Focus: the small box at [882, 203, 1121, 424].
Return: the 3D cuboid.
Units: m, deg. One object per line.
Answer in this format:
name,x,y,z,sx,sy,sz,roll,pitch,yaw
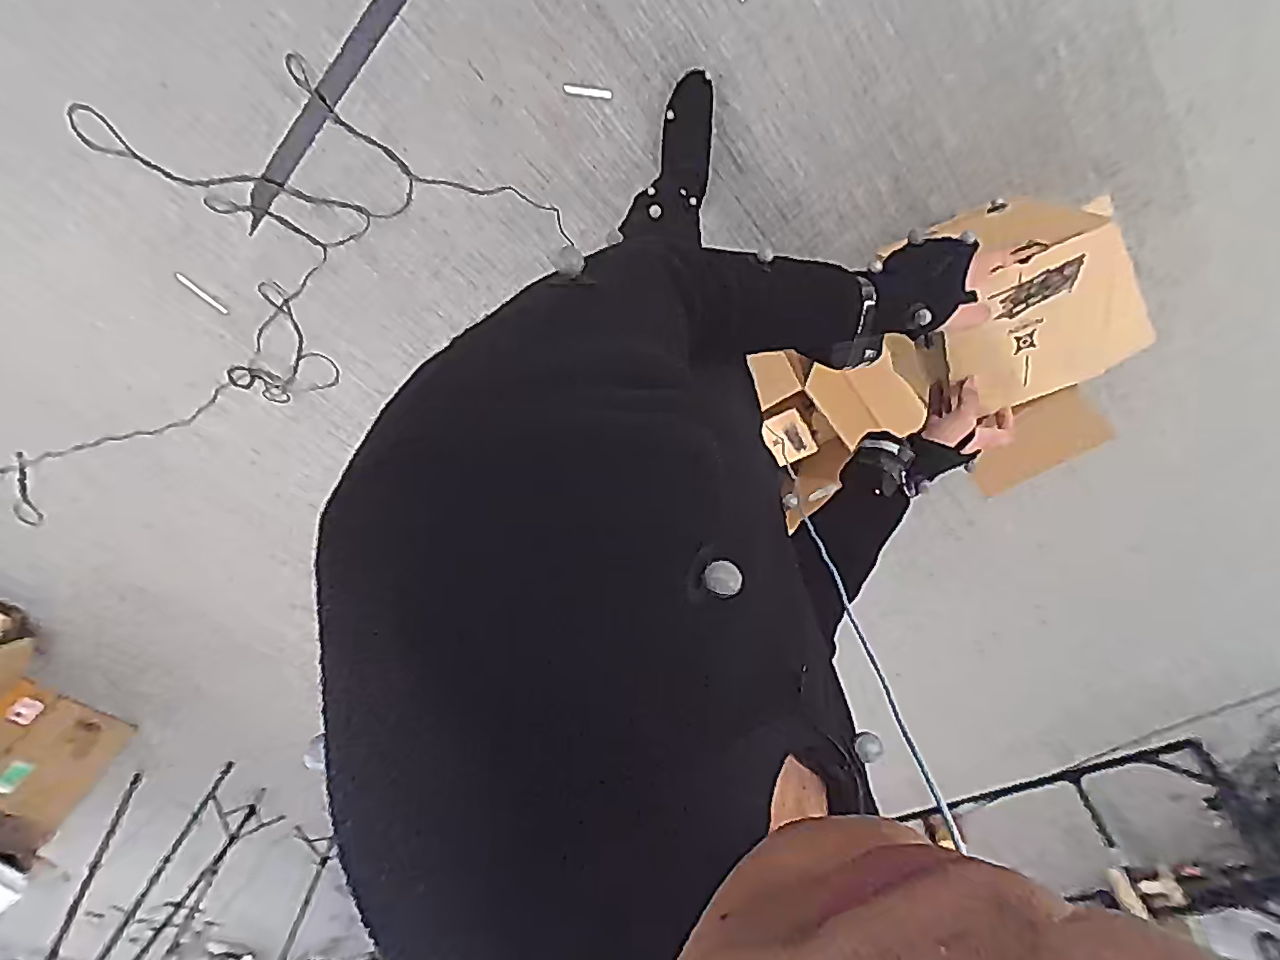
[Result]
small box,0.402,-0.201,0.630,0.168,0.176,0.179,-20,125,11
